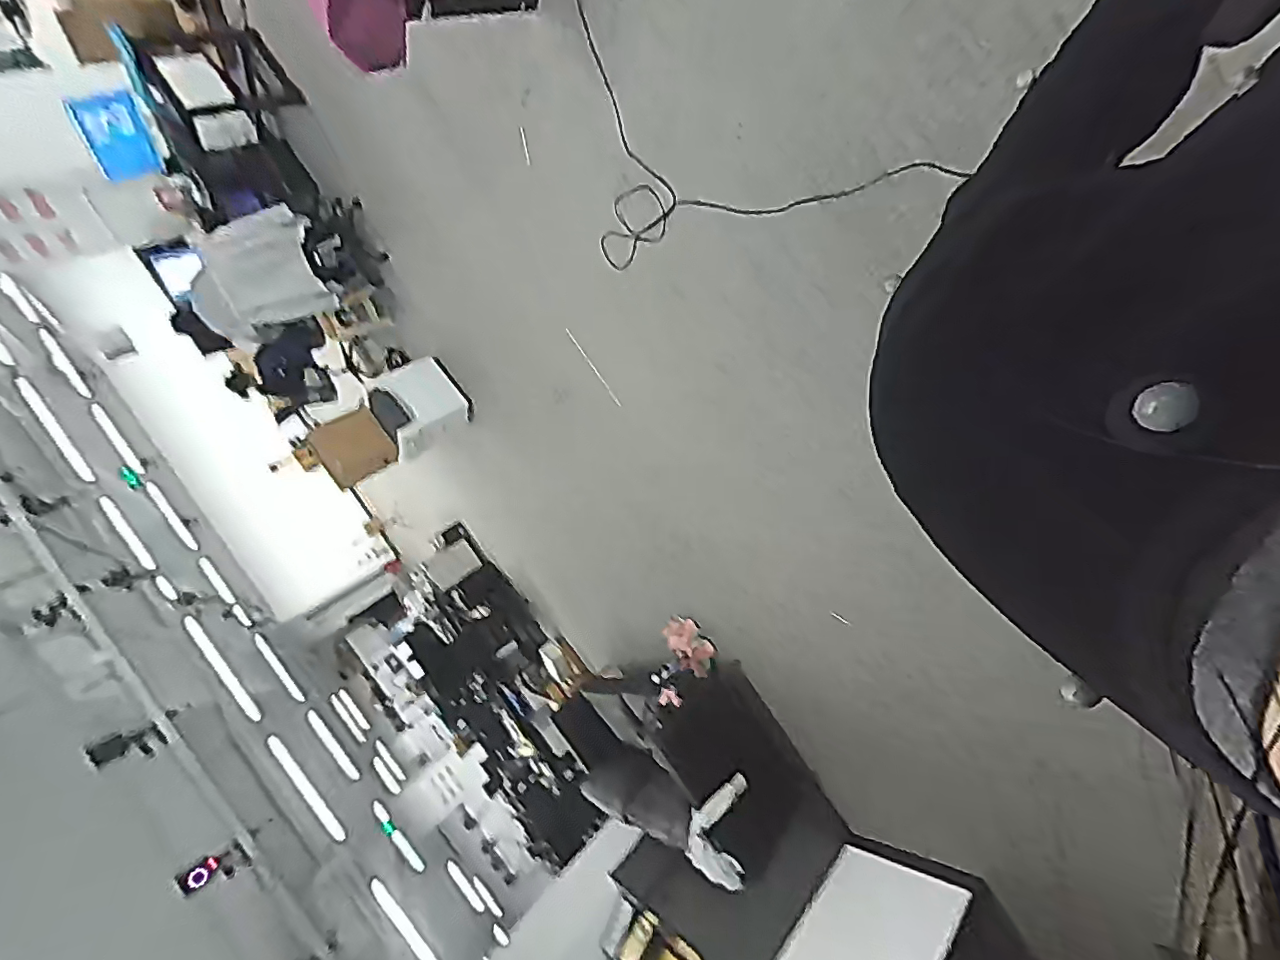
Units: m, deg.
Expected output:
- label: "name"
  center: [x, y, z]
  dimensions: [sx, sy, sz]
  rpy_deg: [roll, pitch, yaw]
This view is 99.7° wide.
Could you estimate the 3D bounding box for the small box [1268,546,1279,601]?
- label: "small box"
  center: [1.189, 0.172, 0.874]
  dimensions: [0.168, 0.176, 0.179]
  rpy_deg: [56, 150, 0]
